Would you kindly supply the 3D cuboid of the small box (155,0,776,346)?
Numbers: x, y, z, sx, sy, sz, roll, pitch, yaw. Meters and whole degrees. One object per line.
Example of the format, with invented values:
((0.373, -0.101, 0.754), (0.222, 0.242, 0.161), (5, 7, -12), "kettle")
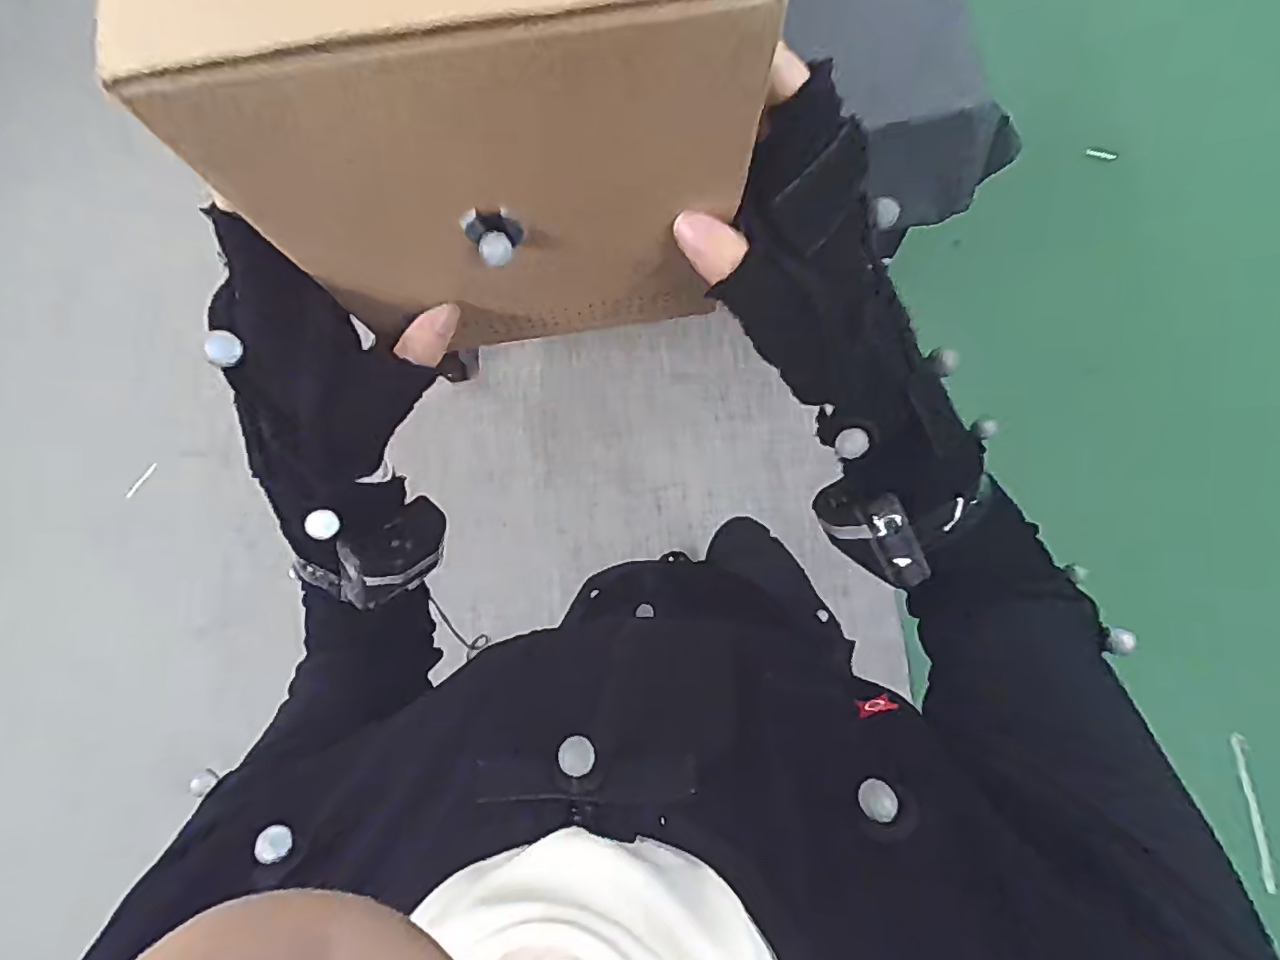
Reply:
((-0.057, -0.179, 0.243), (0.179, 0.176, 0.168), (-8, 78, 0), "small box")
